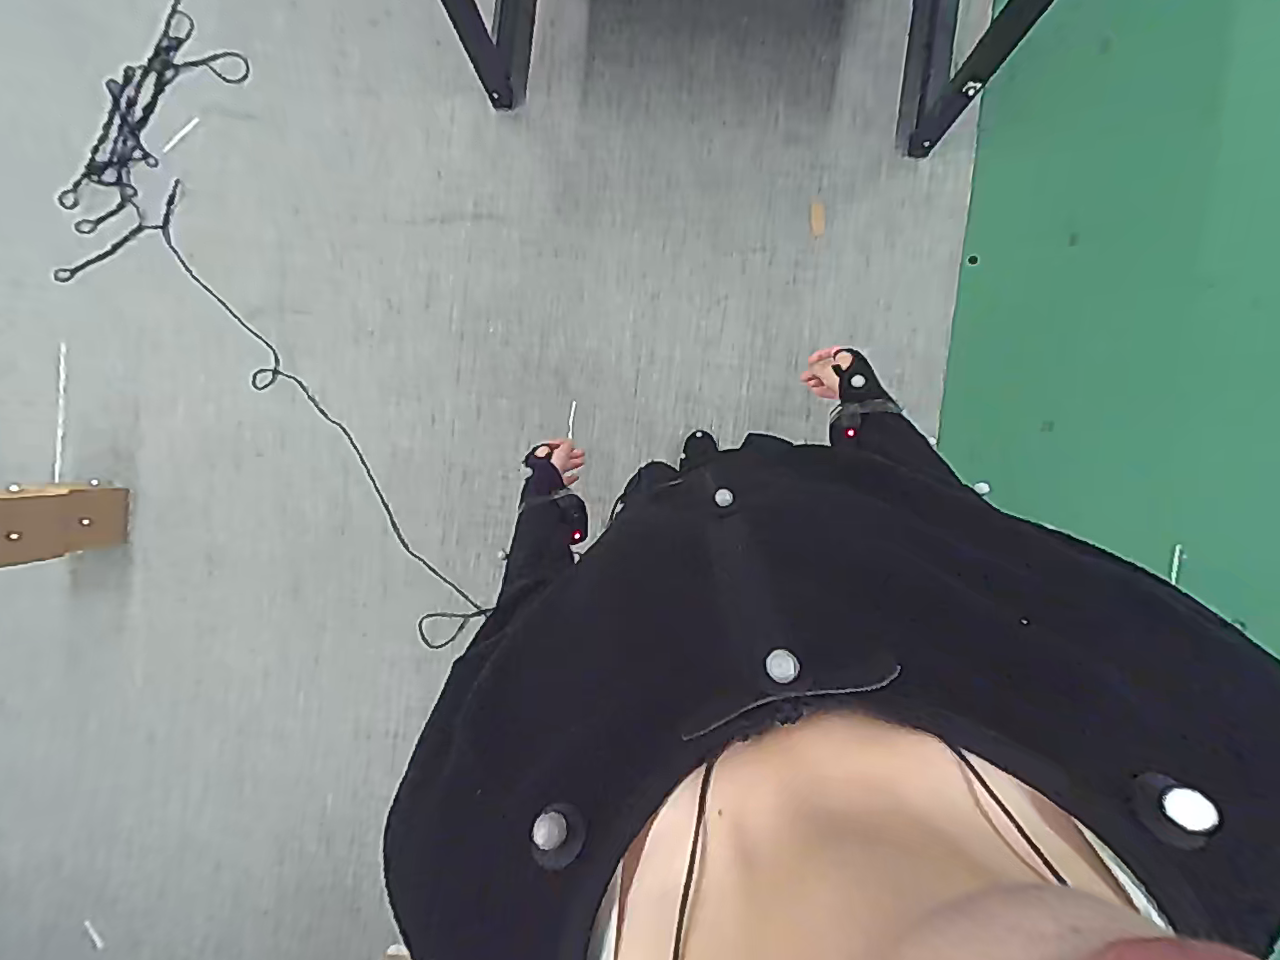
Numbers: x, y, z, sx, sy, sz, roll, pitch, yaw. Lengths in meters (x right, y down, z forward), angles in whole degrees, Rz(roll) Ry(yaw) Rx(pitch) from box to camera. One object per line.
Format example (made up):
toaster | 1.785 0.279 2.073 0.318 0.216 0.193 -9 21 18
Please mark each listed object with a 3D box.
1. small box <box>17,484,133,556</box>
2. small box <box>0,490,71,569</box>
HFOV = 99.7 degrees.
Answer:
small box | -1.586 0.108 1.522 0.168 0.176 0.179 5 91 3
small box | -1.597 0.122 1.358 0.168 0.176 0.179 6 92 2
